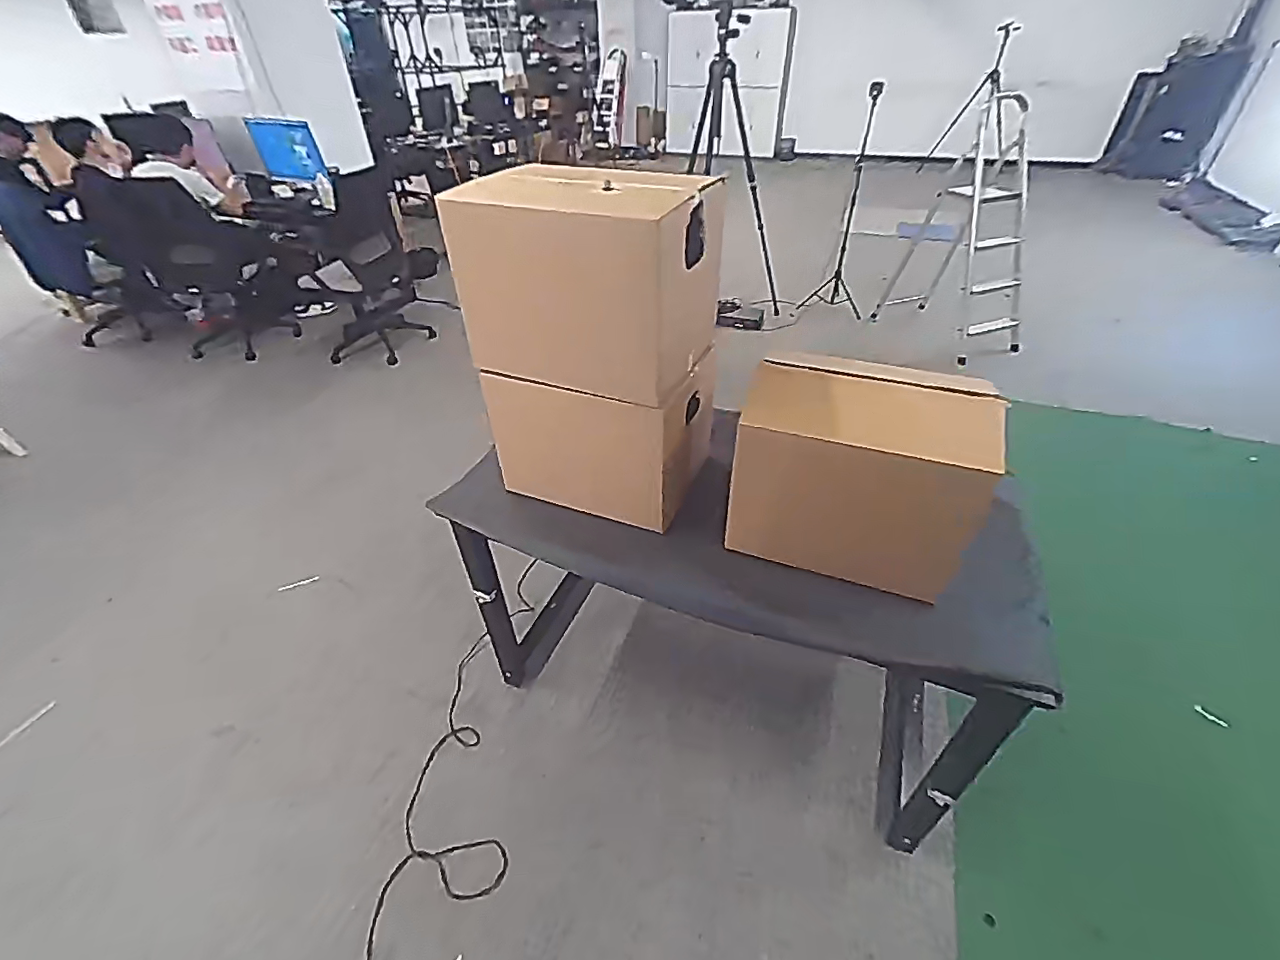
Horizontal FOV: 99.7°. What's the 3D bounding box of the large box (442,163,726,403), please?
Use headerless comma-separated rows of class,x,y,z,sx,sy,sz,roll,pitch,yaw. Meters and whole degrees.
large box,-0.089,-0.384,1.022,0.408,0.320,0.320,16,43,18
